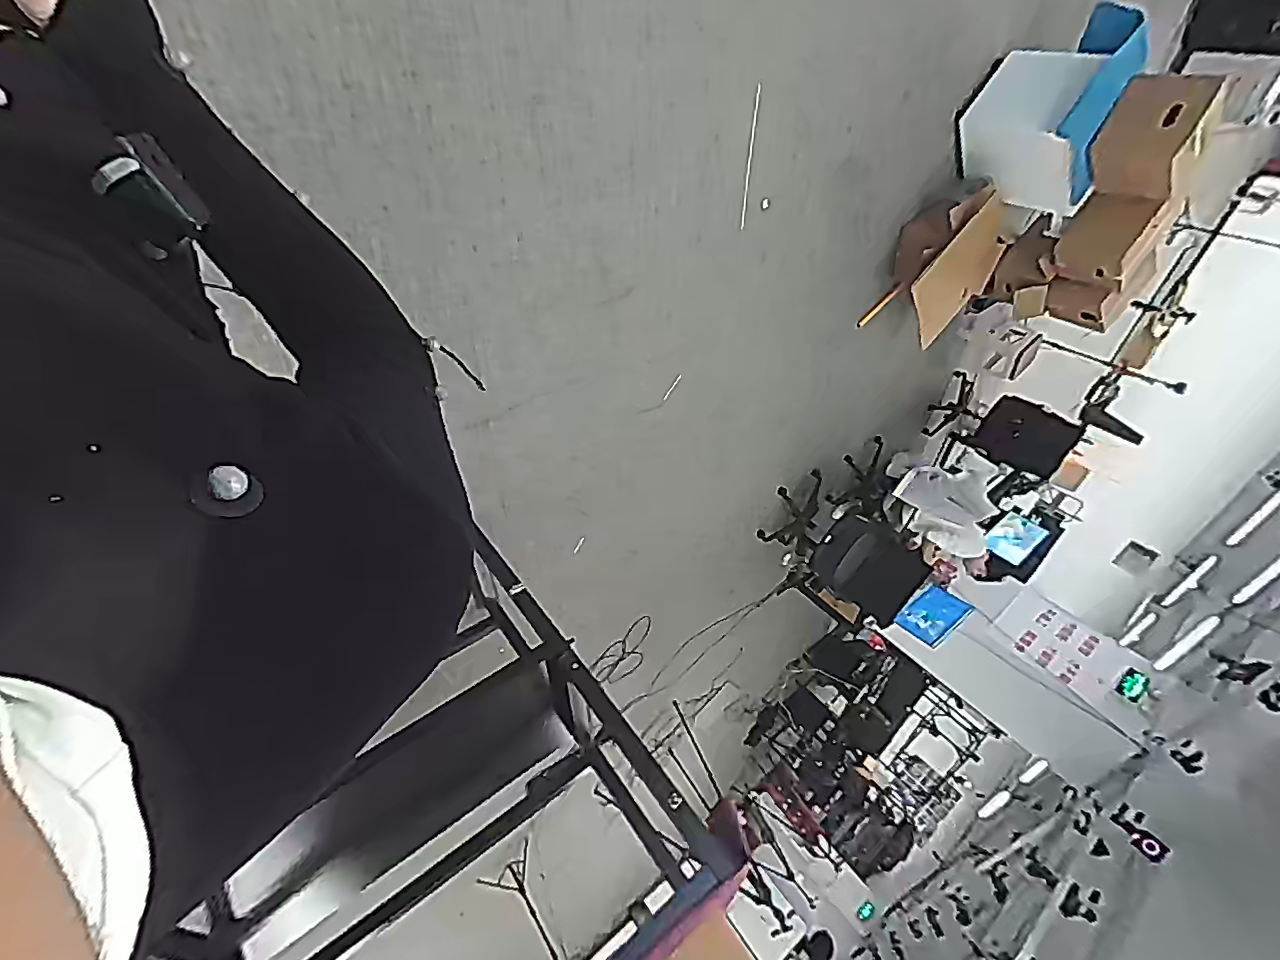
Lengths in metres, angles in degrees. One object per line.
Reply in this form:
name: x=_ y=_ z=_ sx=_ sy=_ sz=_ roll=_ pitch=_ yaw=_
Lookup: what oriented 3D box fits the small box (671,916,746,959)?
small box: x=0.156 y=1.119 z=1.196 sx=0.179 sy=0.176 sz=0.168 roll=-28 pitch=138 yaw=-25
